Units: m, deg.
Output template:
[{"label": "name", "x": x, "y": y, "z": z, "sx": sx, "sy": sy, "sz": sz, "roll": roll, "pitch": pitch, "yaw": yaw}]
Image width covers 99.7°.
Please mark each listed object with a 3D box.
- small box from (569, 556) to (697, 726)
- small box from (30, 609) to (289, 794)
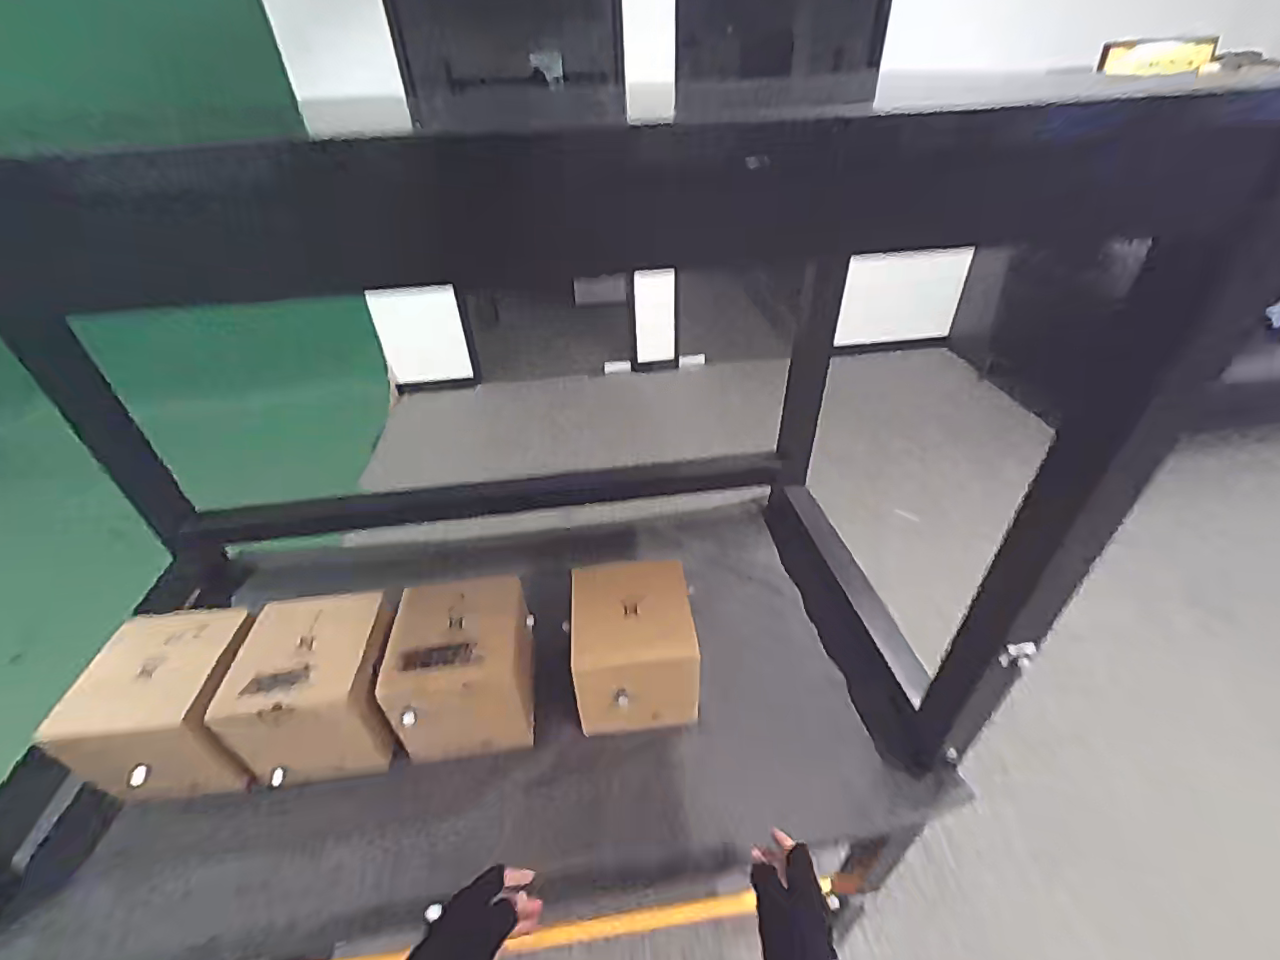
[{"label": "small box", "x": -0.011, "y": 0.237, "z": 0.784, "sx": 0.168, "sy": 0.176, "sz": 0.179, "roll": -5, "pitch": 37, "yaw": -3}, {"label": "small box", "x": -0.617, "y": 0.301, "z": 0.730, "sx": 0.168, "sy": 0.176, "sz": 0.179, "roll": -4, "pitch": 37, "yaw": -4}]
